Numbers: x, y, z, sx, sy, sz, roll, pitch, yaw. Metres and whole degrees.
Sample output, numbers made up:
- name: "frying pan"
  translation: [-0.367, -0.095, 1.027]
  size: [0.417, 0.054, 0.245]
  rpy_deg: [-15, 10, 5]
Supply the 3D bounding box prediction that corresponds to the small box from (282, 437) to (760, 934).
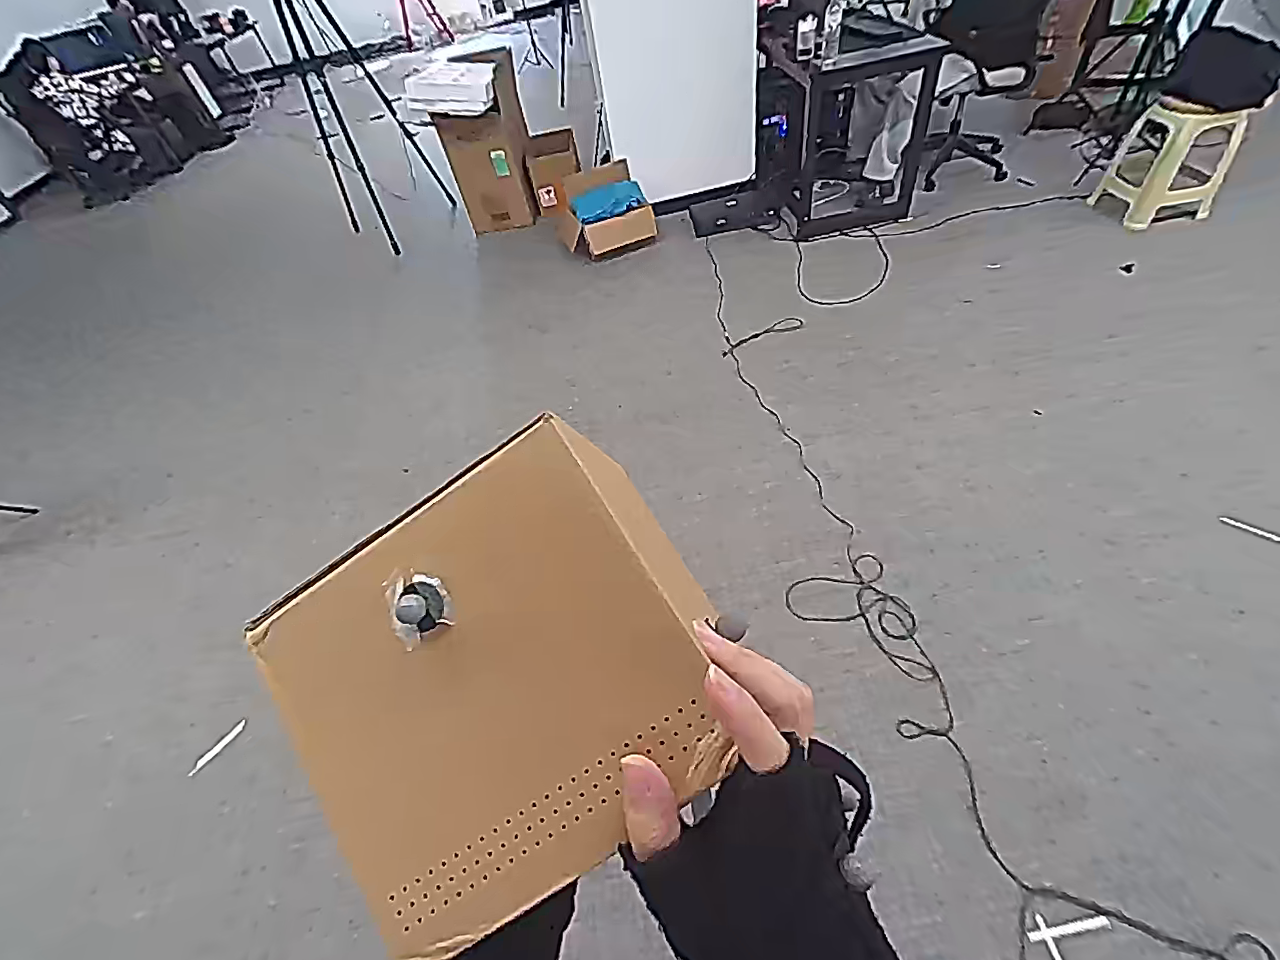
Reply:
- name: "small box"
  translation: [-0.050, 0.104, 0.321]
  size: [0.179, 0.168, 0.176]
  rpy_deg: [-34, 79, 4]
